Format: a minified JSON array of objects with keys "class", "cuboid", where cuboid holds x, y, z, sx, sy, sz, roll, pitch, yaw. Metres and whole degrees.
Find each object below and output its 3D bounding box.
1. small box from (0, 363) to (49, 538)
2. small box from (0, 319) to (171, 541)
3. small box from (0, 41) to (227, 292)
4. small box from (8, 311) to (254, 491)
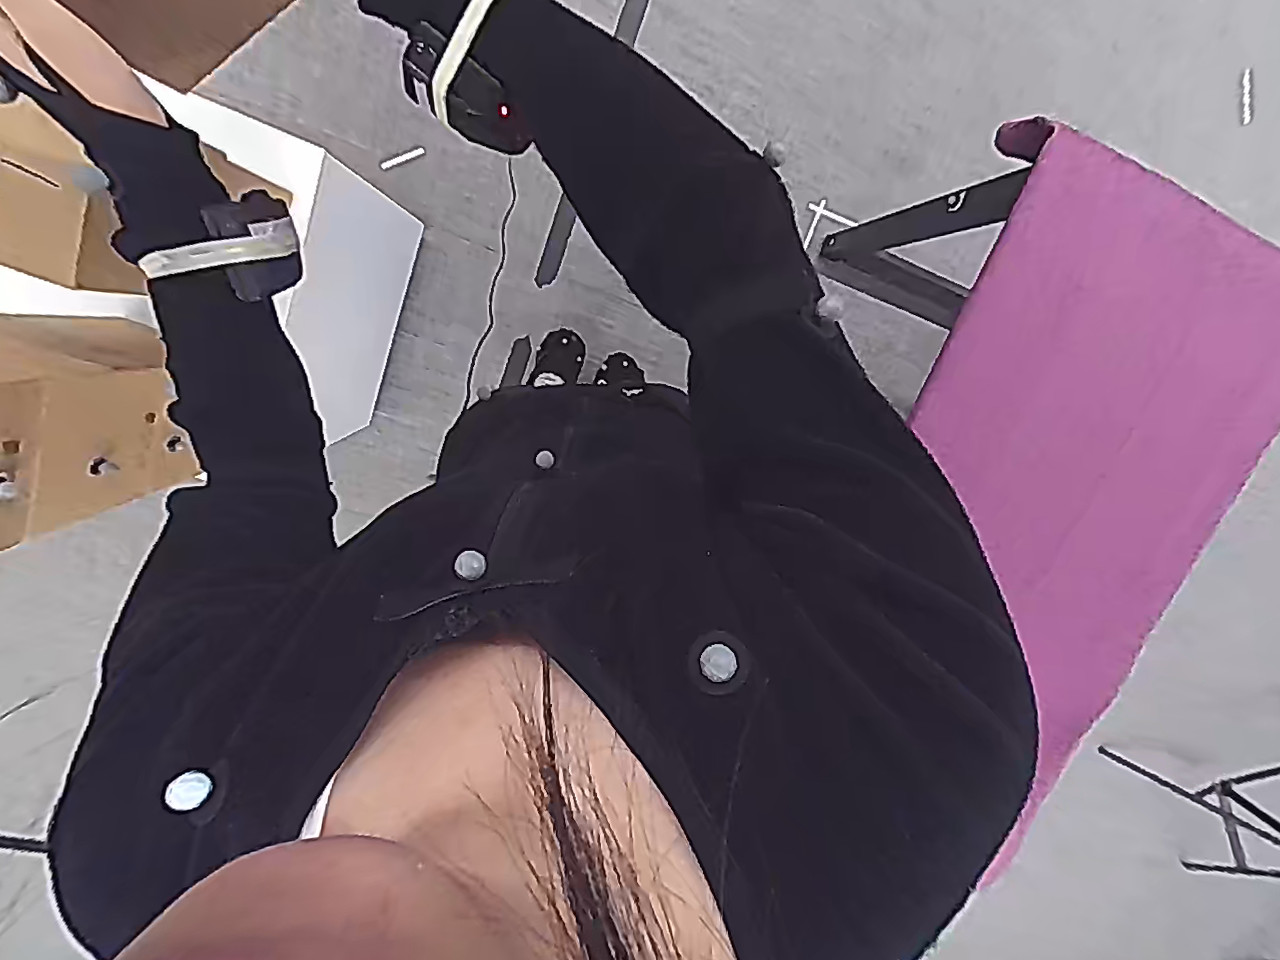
[{"class":"small box","cuboid":[-0.617,-0.021,0.396,0.179,0.176,0.168,17,103,-12]},{"class":"small box","cuboid":[-0.636,-0.062,0.552,0.179,0.176,0.168,18,102,-12]},{"class":"small box","cuboid":[-0.540,-0.286,0.501,0.179,0.176,0.168,20,102,-14]},{"class":"small box","cuboid":[-0.659,-0.105,0.708,0.179,0.176,0.168,19,101,-11]}]
